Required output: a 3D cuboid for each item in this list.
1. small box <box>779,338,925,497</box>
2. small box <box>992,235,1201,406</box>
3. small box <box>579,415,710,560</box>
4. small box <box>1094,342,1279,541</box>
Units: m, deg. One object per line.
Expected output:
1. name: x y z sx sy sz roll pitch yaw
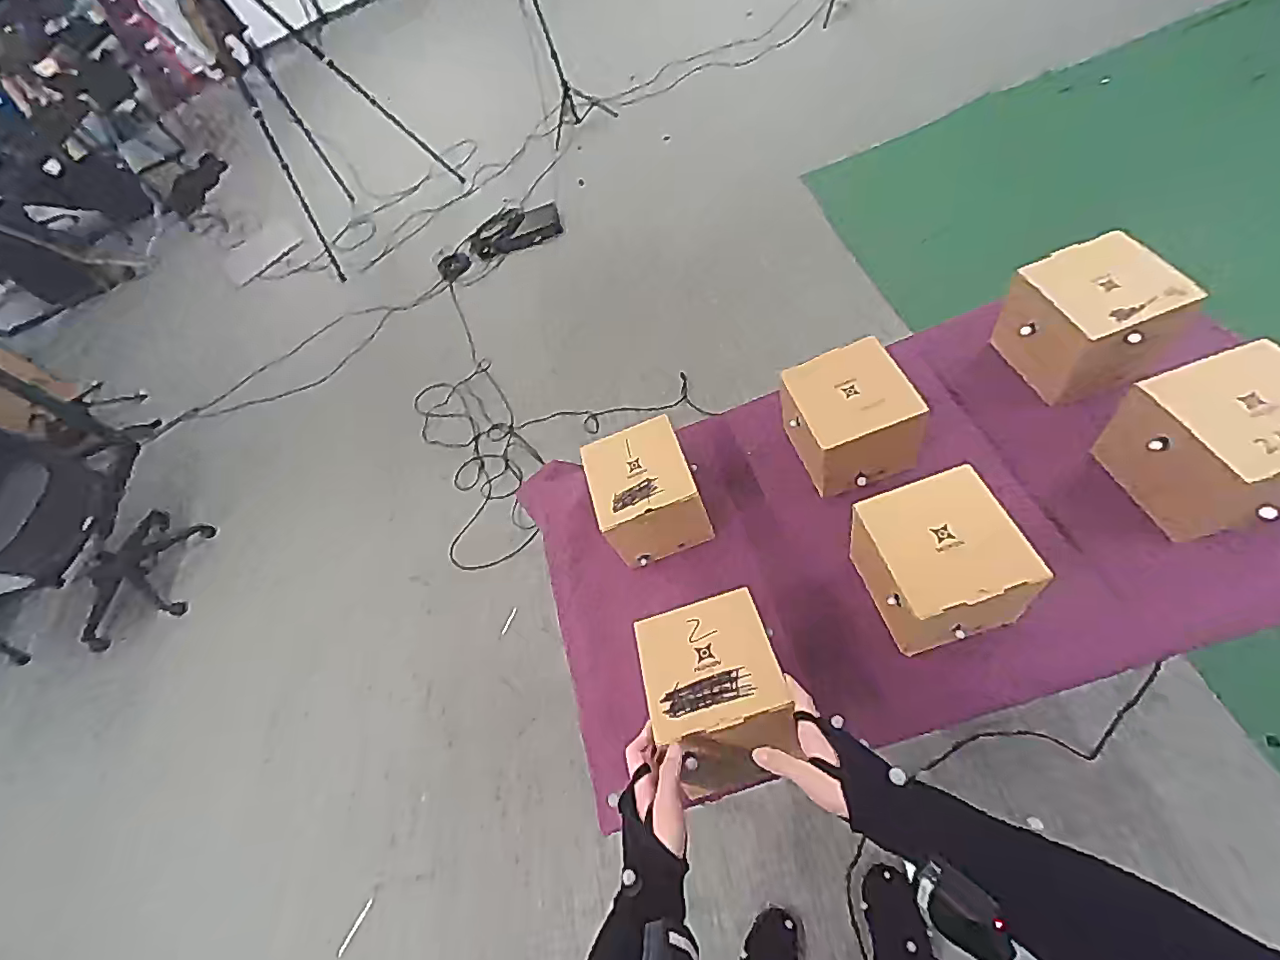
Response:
1. small box: 0.347 -0.100 0.915 0.168 0.176 0.179 -21 56 7
2. small box: 0.717 -0.254 0.881 0.168 0.176 0.179 -21 56 6
3. small box: 0.012 0.023 0.950 0.168 0.176 0.179 -21 55 5
4. small box: 0.775 -0.046 0.730 0.168 0.176 0.179 -20 54 7
